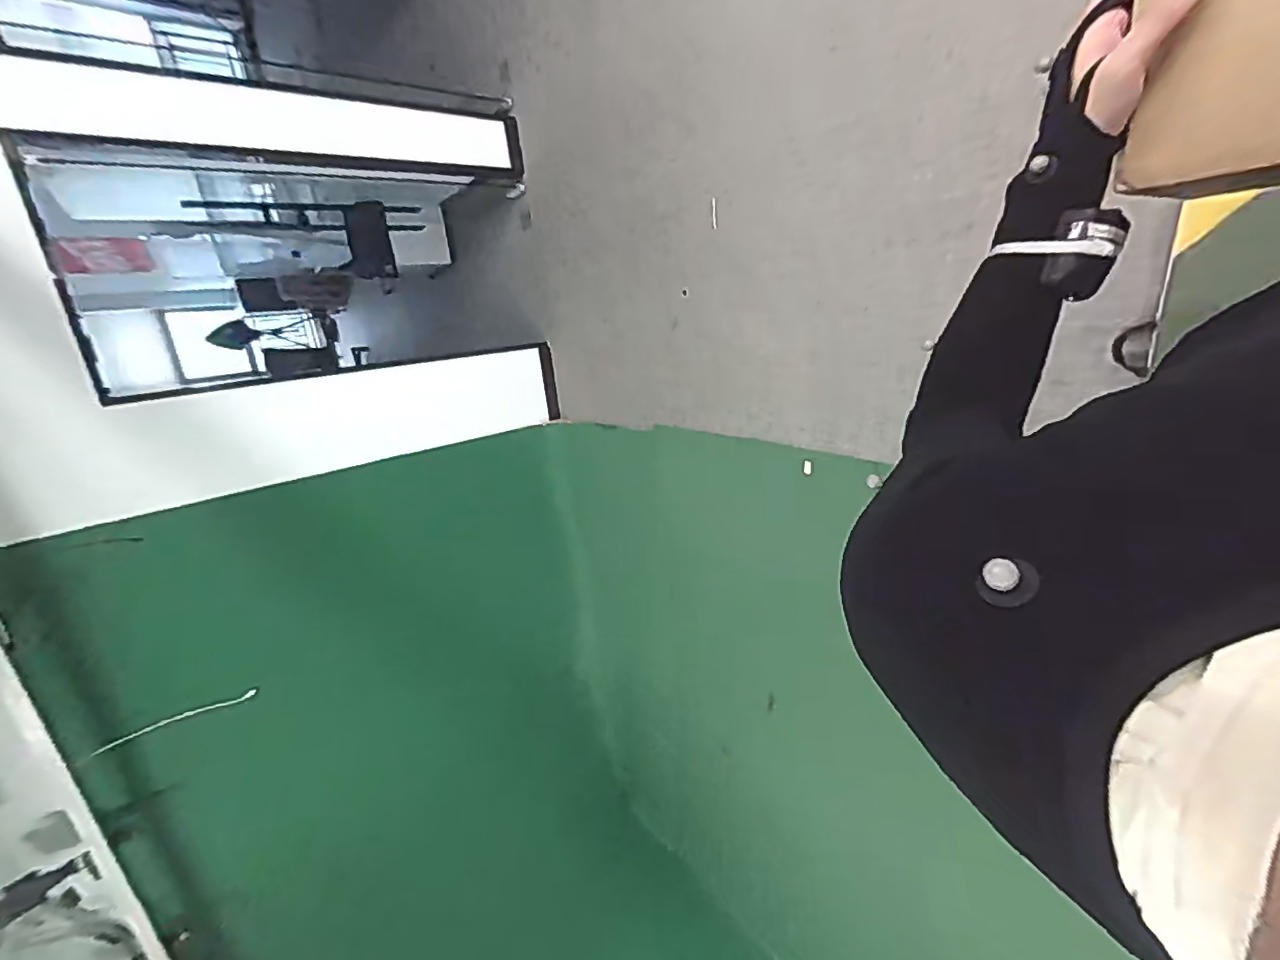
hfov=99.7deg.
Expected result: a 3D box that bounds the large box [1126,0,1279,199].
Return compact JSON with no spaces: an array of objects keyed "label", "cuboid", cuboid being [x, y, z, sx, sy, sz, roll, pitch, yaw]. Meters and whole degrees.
[{"label":"large box","cuboid":[0.613,-0.400,0.340,0.408,0.320,0.320,12,116,49]}]
